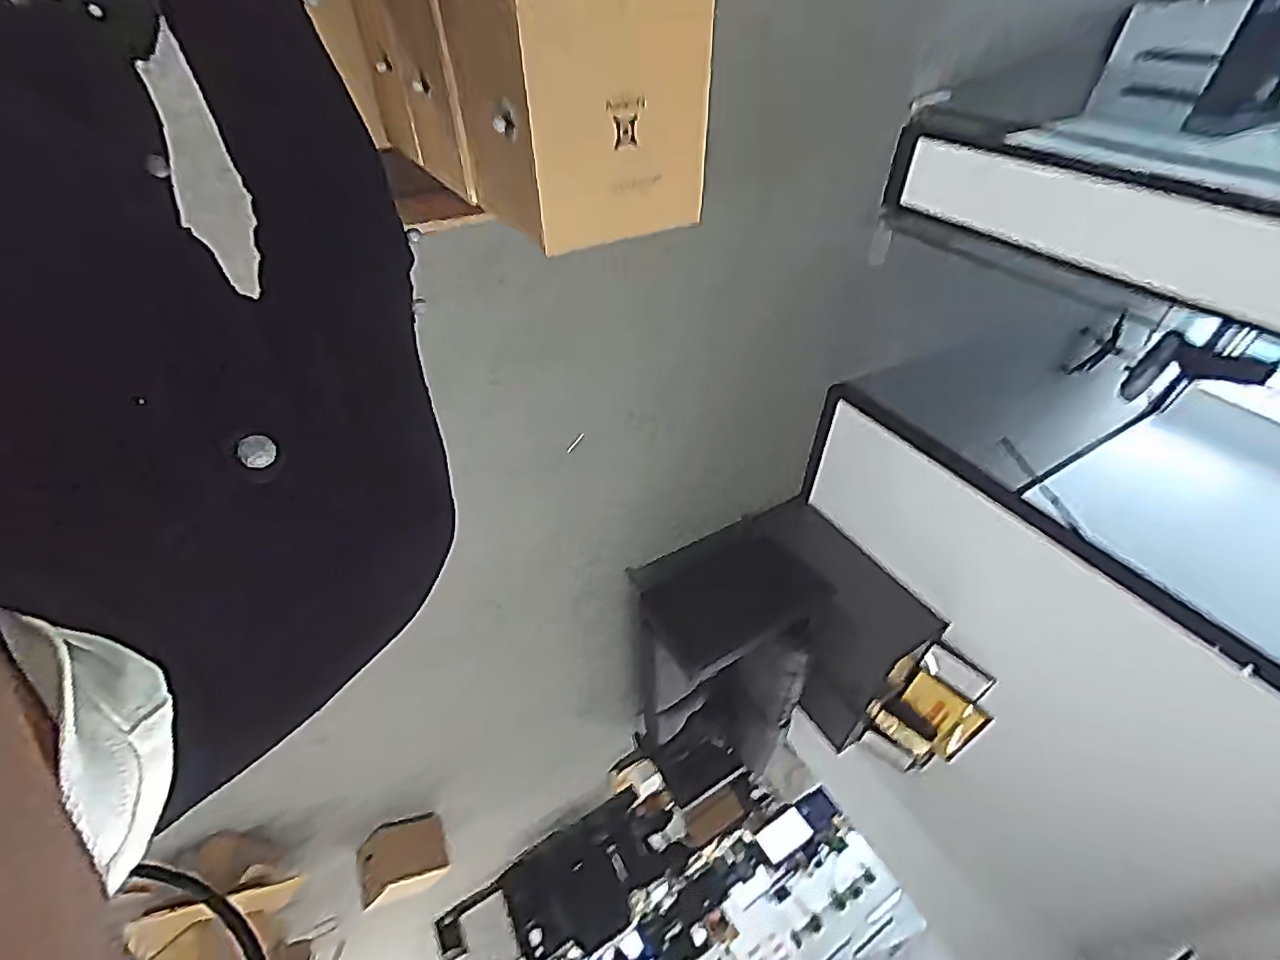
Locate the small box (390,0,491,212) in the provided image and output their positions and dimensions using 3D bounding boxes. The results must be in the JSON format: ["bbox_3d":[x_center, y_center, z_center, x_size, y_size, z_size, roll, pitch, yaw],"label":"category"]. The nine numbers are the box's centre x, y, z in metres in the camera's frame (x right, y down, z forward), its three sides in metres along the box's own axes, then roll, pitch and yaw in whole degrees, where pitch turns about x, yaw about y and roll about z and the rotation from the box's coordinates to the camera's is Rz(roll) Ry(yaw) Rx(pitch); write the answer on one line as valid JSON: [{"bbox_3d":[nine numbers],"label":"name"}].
[{"bbox_3d":[-0.143,-0.411,0.576,0.168,0.176,0.179,-23,136,-24],"label":"small box"}]

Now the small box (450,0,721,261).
[{"bbox_3d":[-0.051,-0.319,0.478,0.168,0.176,0.179,-23,137,-23],"label":"small box"}]

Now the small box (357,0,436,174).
[{"bbox_3d":[-0.232,-0.503,0.678,0.168,0.176,0.179,-22,136,-24],"label":"small box"}]
